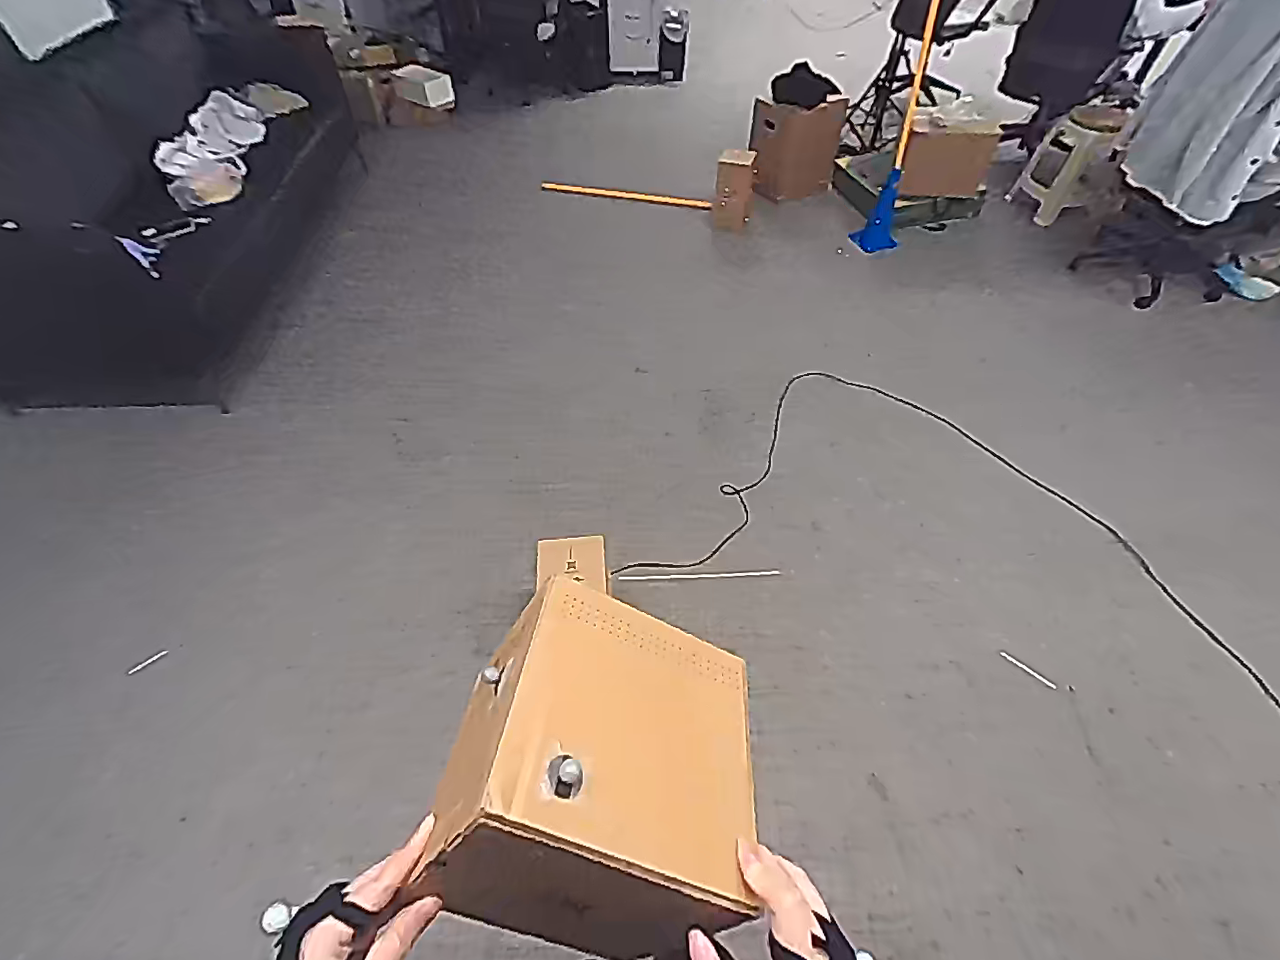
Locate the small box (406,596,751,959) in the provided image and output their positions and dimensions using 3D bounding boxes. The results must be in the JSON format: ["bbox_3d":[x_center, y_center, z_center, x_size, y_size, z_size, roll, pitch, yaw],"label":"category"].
[{"bbox_3d":[-0.036,0.217,0.404,0.179,0.168,0.176,28,34,-10],"label":"small box"}]

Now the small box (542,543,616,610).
[{"bbox_3d":[-0.150,0.284,1.367,0.168,0.176,0.179,-6,51,-2],"label":"small box"}]
